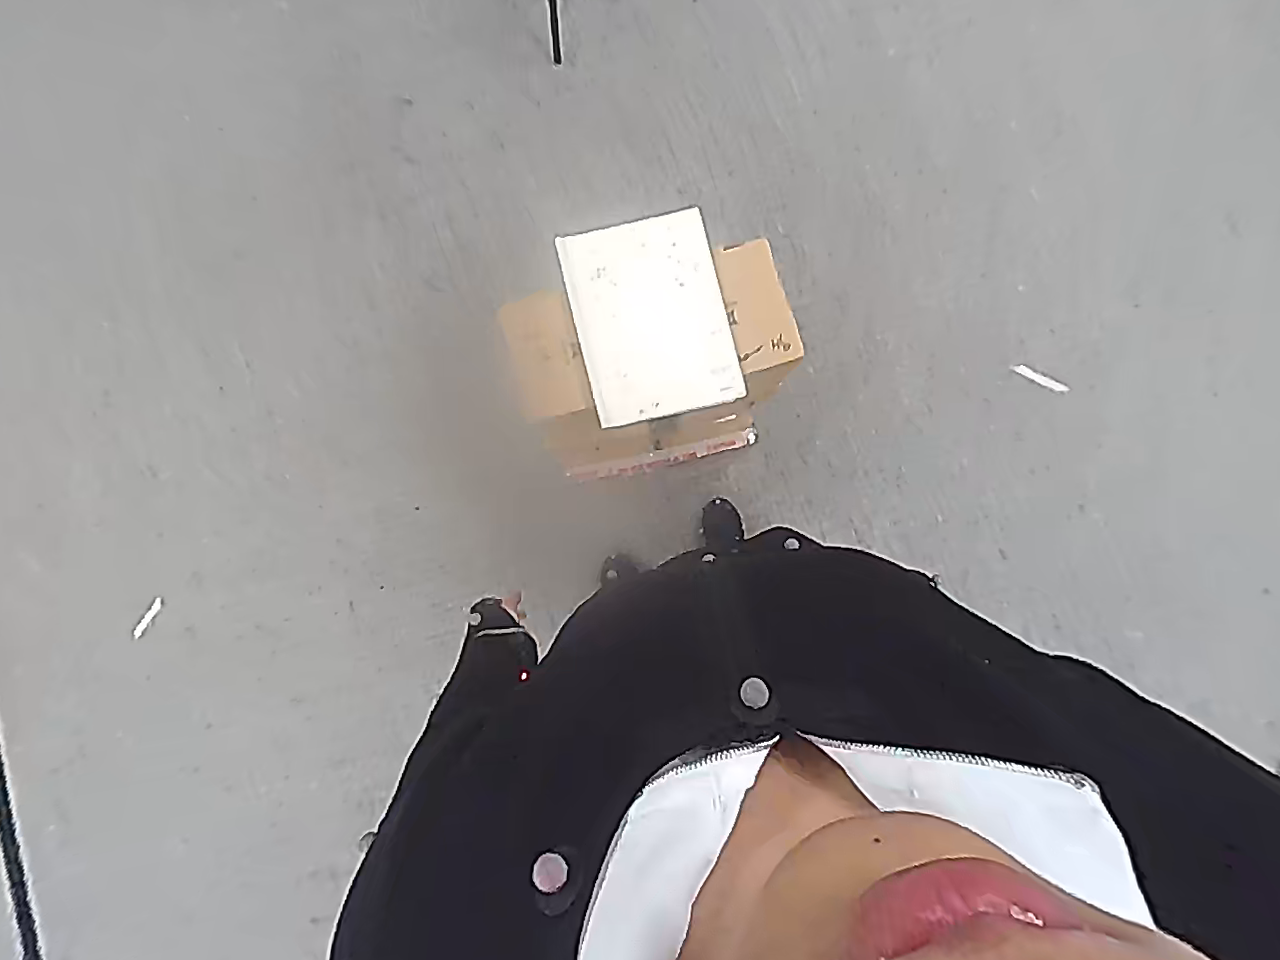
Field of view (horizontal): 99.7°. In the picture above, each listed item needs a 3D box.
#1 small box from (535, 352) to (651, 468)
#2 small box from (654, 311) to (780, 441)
[{"bbox_3d":[-0.077,-0.119,0.988,0.179,0.176,0.168,-10,87,3],"label":"small box"},{"bbox_3d":[0.130,-0.180,0.985,0.179,0.176,0.168,-18,86,1],"label":"small box"}]
